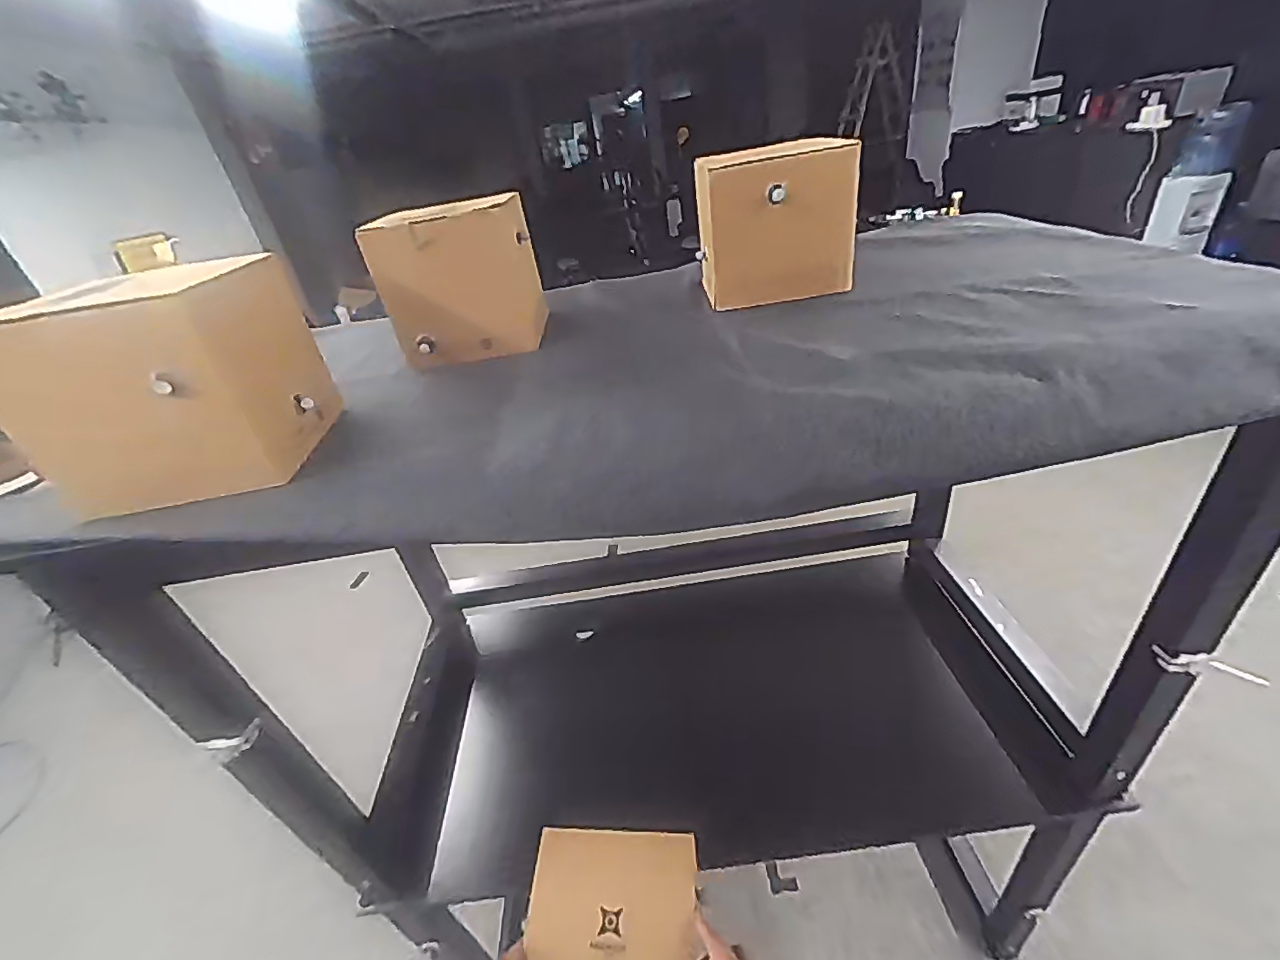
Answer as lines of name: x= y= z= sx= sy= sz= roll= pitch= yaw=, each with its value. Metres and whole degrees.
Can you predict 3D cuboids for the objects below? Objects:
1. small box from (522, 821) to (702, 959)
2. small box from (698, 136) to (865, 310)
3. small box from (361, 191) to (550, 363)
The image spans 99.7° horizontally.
small box: x=-0.020 y=0.488 z=0.564 sx=0.168 sy=0.176 sz=0.179 roll=-1 pitch=40 yaw=7
small box: x=0.176 y=-0.339 z=0.714 sx=0.179 sy=0.176 sz=0.168 roll=-8 pitch=33 yaw=5
small box: x=-0.221 y=-0.261 z=0.705 sx=0.168 sy=0.176 sz=0.179 roll=-9 pitch=32 yaw=2
